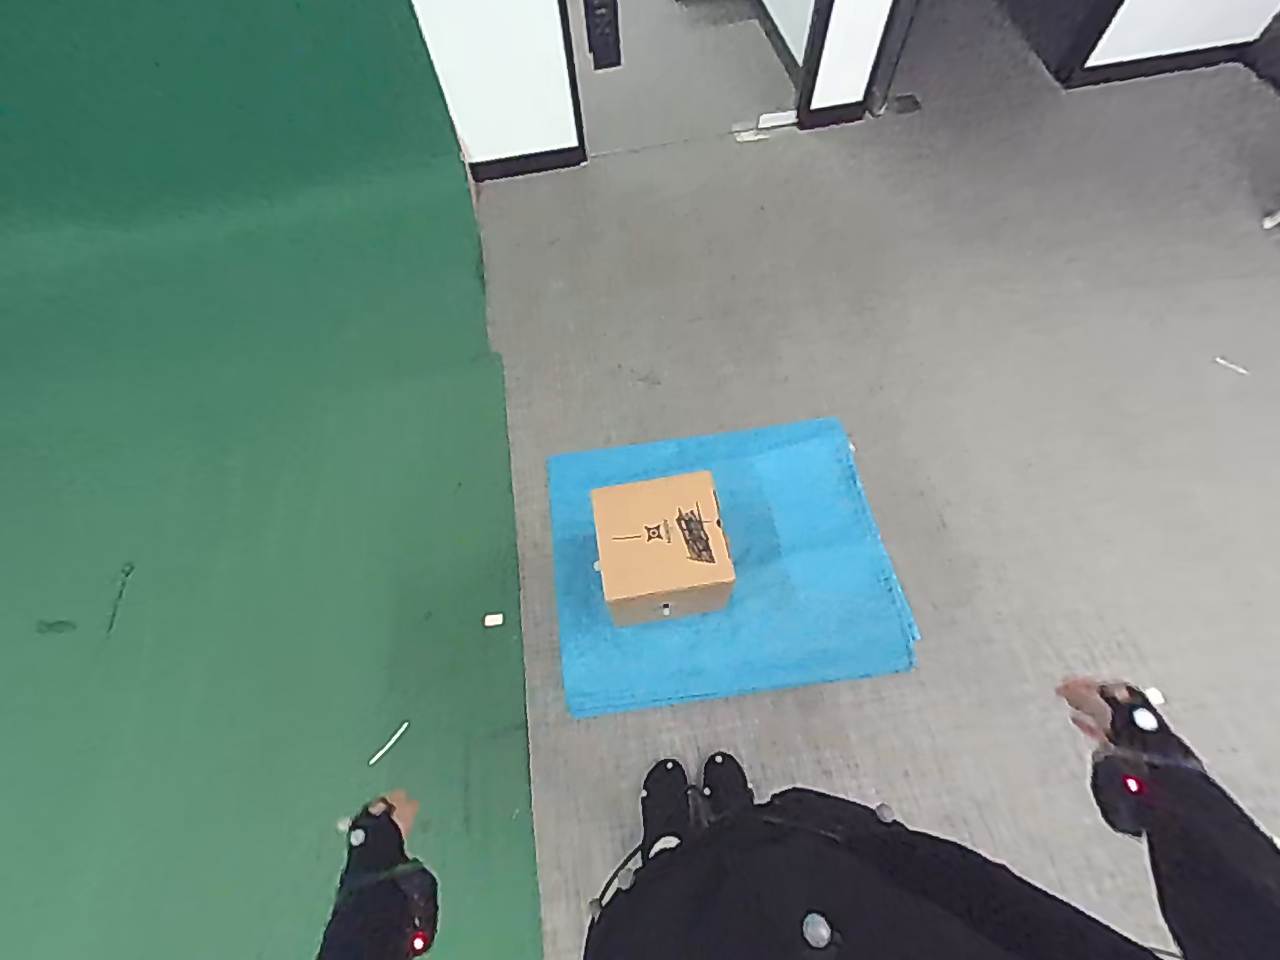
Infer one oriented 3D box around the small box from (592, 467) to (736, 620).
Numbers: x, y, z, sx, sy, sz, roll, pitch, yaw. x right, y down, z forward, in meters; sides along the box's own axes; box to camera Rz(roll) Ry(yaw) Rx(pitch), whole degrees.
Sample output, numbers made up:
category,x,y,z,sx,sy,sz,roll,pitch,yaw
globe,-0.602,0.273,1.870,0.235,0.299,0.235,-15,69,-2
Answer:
category,x,y,z,sx,sy,sz,roll,pitch,yaw
small box,0.031,0.099,0.800,0.179,0.176,0.168,-9,63,-1
